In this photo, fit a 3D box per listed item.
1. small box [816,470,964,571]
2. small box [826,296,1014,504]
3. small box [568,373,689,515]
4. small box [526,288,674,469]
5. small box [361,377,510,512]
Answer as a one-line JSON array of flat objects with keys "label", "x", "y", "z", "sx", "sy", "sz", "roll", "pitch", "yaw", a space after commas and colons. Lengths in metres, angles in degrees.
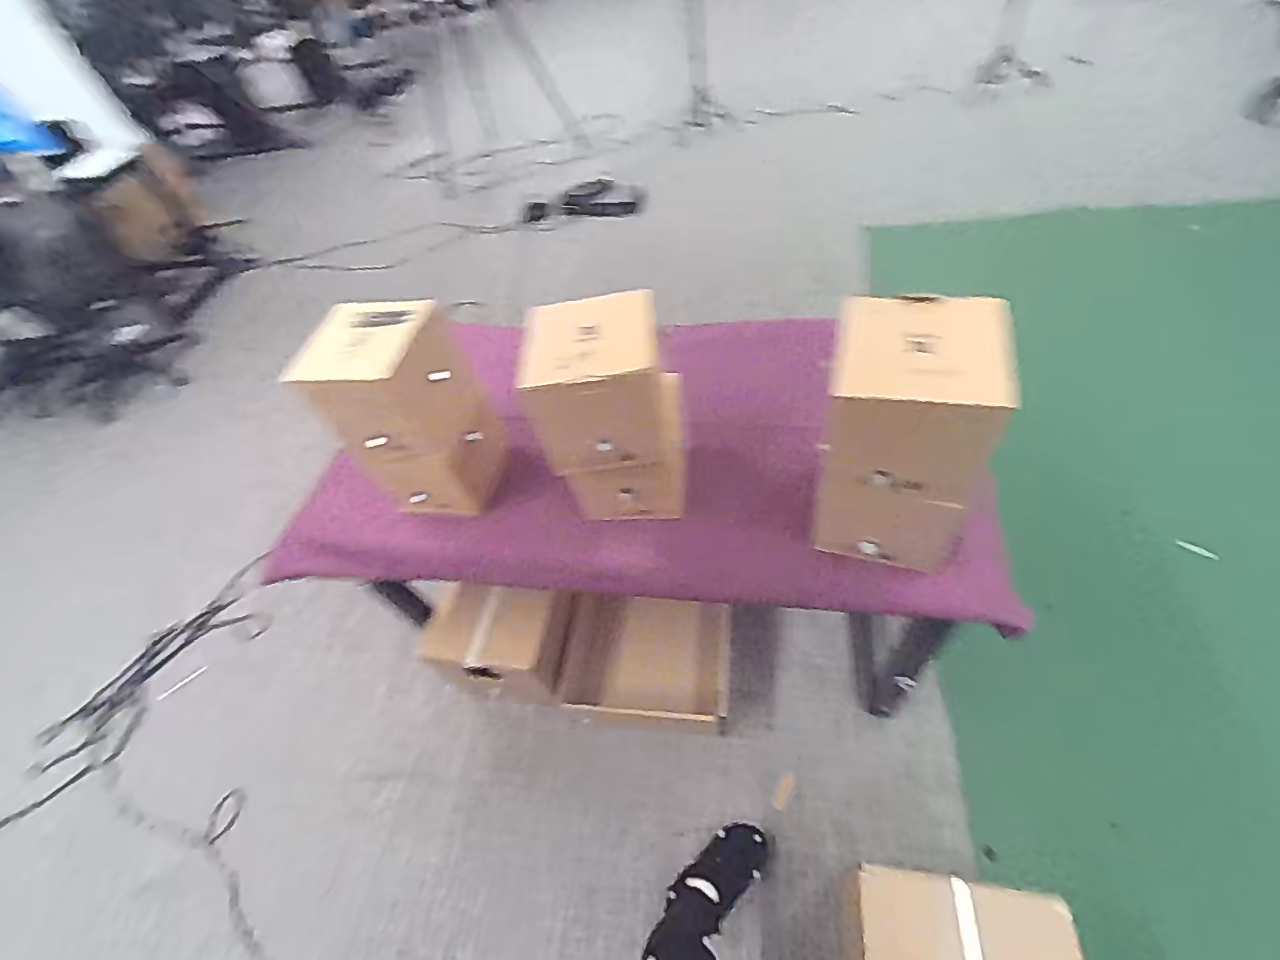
[{"label": "small box", "x": 0.354, "y": 0.002, "z": 0.775, "sx": 0.168, "sy": 0.176, "sz": 0.179, "roll": 11, "pitch": 56, "yaw": 21}, {"label": "small box", "x": 0.323, "y": -0.097, "z": 0.651, "sx": 0.168, "sy": 0.176, "sz": 0.179, "roll": 8, "pitch": 55, "yaw": 20}, {"label": "small box", "x": -0.009, "y": -0.054, "z": 0.899, "sx": 0.168, "sy": 0.176, "sz": 0.179, "roll": -1, "pitch": 51, "yaw": 11}, {"label": "small box", "x": -0.045, "y": -0.139, "z": 0.760, "sx": 0.168, "sy": 0.176, "sz": 0.179, "roll": -7, "pitch": 51, "yaw": 8}, {"label": "small box", "x": -0.355, "y": -0.065, "z": 0.982, "sx": 0.168, "sy": 0.176, "sz": 0.179, "roll": 3, "pitch": 53, "yaw": 14}]
